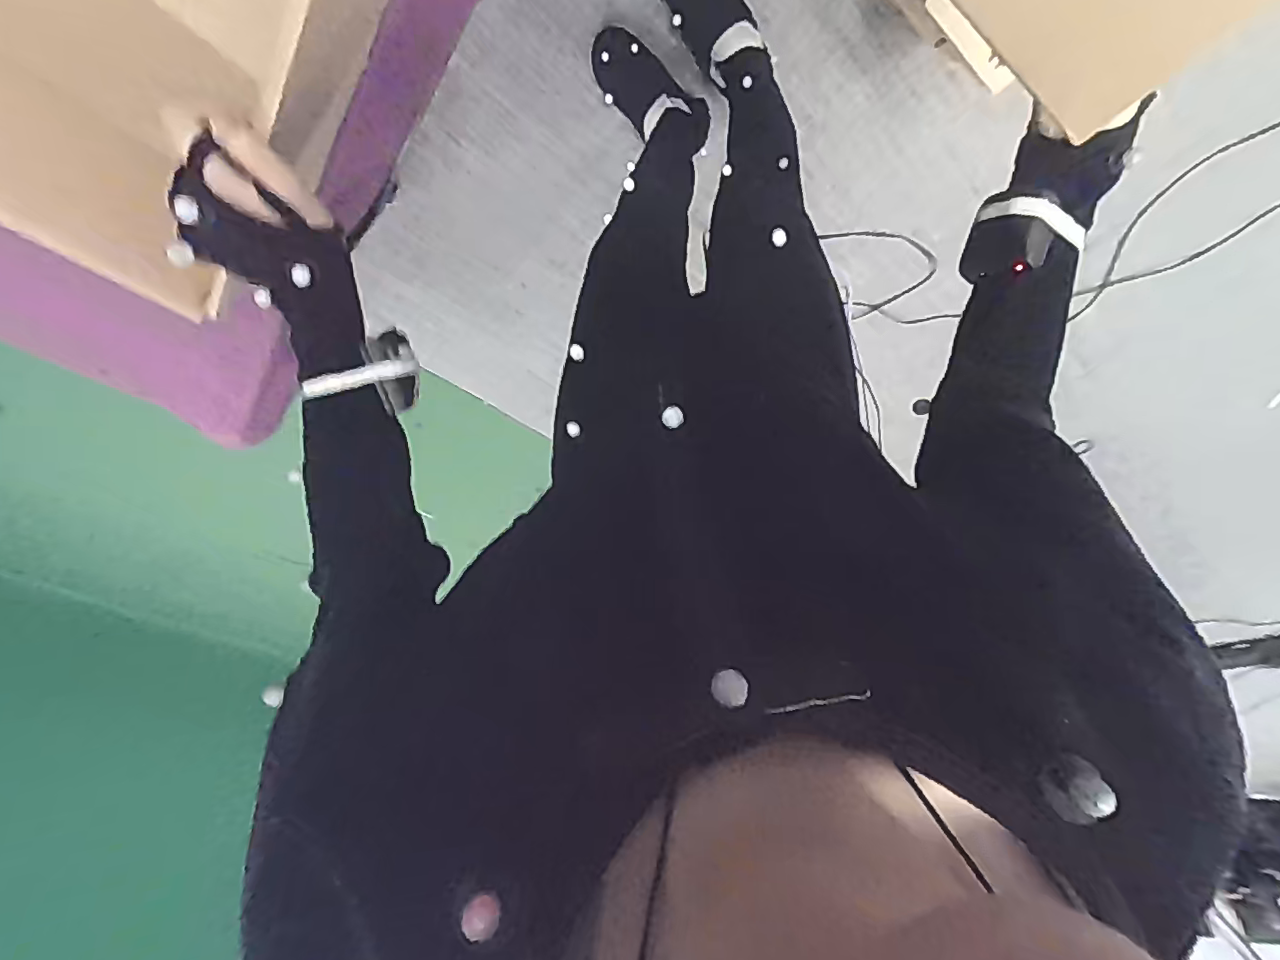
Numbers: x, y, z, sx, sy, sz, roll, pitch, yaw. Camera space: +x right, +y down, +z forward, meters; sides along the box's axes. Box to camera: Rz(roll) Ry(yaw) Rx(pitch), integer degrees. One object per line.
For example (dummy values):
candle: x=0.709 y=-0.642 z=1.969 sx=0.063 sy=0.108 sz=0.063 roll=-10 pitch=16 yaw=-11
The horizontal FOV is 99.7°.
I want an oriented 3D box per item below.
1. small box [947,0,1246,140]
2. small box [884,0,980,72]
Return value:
small box: x=0.258 y=-0.329 z=0.271 sx=0.176 sy=0.179 sz=0.168 roll=42 pitch=151 yaw=-9
small box: x=0.491 y=-0.802 z=0.845 sx=0.168 sy=0.176 sz=0.179 roll=26 pitch=136 yaw=-25
